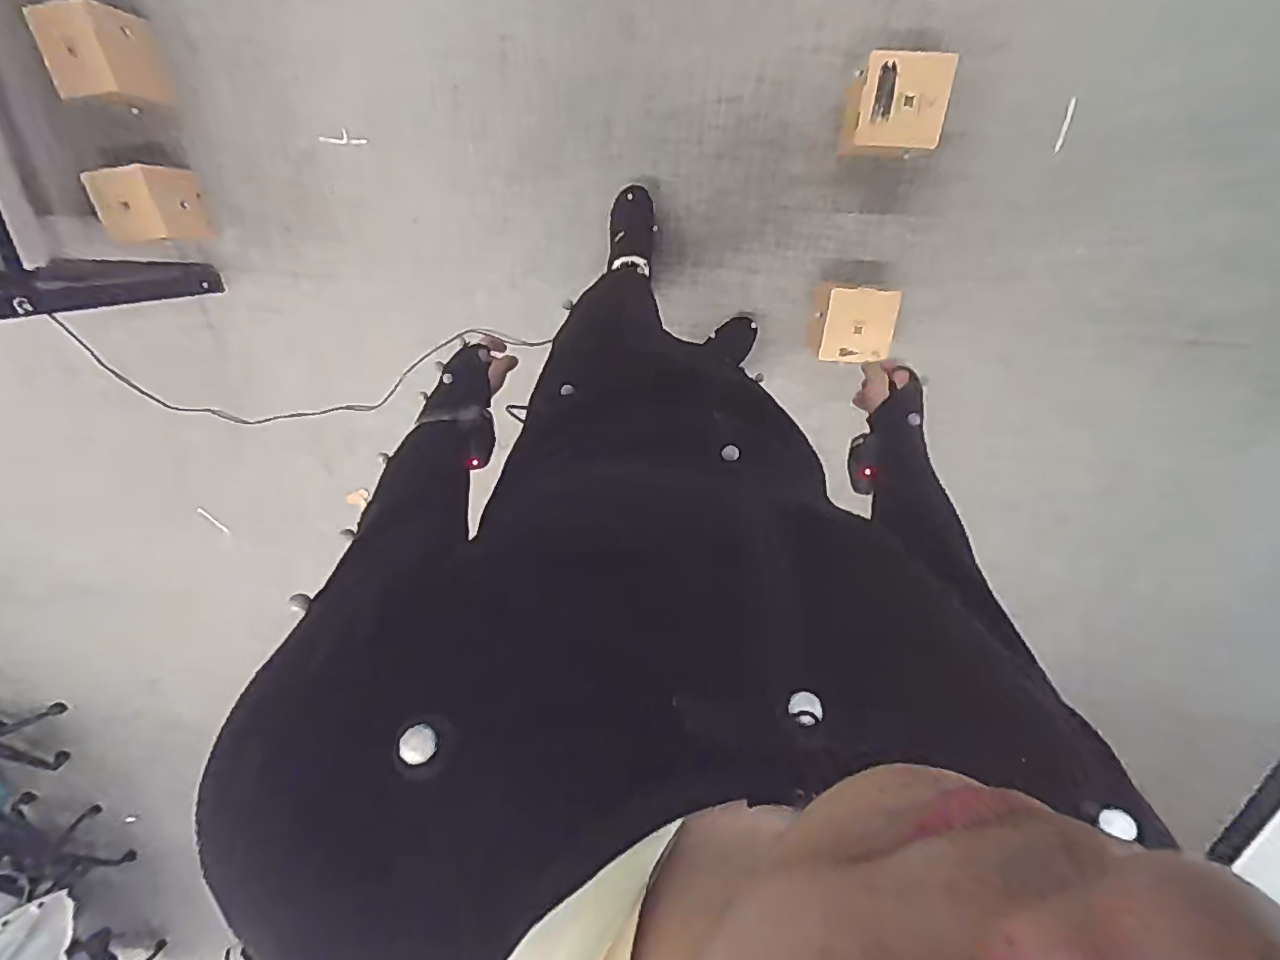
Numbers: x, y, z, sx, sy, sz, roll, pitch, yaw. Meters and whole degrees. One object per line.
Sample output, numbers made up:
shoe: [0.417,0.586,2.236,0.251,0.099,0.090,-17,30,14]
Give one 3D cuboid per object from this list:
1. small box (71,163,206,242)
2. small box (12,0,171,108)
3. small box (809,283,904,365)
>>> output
small box: [-1.293,-0.722,1.416,0.179,0.176,0.168,-3,114,8]
small box: [-1.286,-1.012,1.284,0.168,0.176,0.179,-1,115,8]
small box: [0.536,-0.399,1.364,0.168,0.176,0.179,6,114,4]
